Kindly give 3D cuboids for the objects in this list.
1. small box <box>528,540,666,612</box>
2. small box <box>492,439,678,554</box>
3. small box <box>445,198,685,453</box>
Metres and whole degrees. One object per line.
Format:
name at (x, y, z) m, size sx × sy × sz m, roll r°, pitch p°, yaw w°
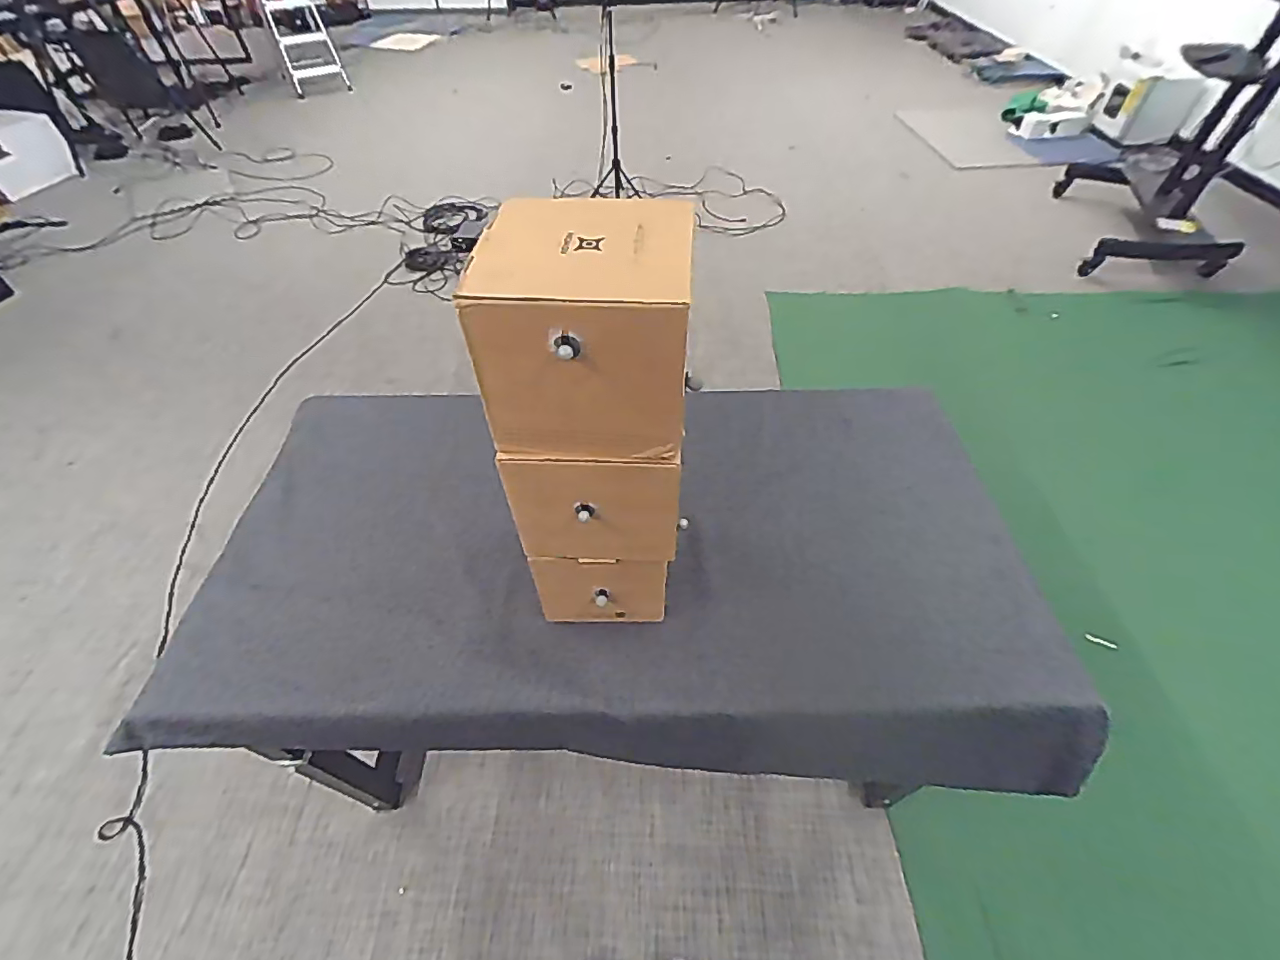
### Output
small box at (-0.049, 0.072, 0.748) m, size 0.168 × 0.176 × 0.179 m, roll -2°, pitch 50°, yaw 1°
small box at (-0.047, -0.028, 0.617) m, size 0.179 × 0.176 × 0.168 m, roll 0°, pitch 49°, yaw 4°
small box at (-0.050, -0.138, 0.499) m, size 0.179 × 0.176 × 0.168 m, roll 2°, pitch 51°, yaw 3°
